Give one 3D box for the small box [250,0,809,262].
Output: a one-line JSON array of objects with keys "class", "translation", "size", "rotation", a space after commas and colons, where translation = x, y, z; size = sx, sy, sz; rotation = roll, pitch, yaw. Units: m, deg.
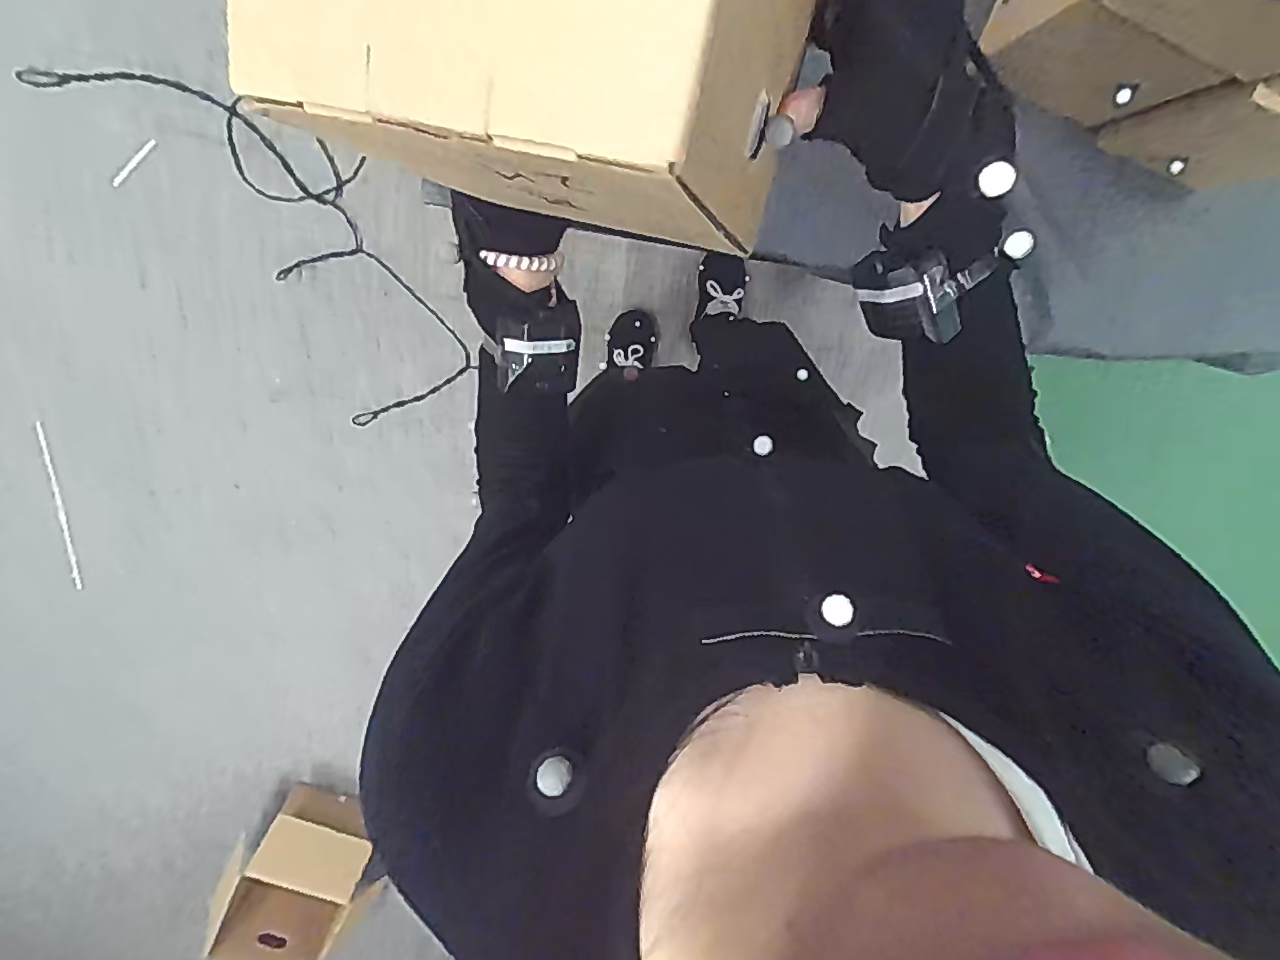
[{"class": "small box", "translation": [-0.022, -0.208, 0.230], "size": [0.168, 0.179, 0.176], "rotation": [18, 109, 13]}]
